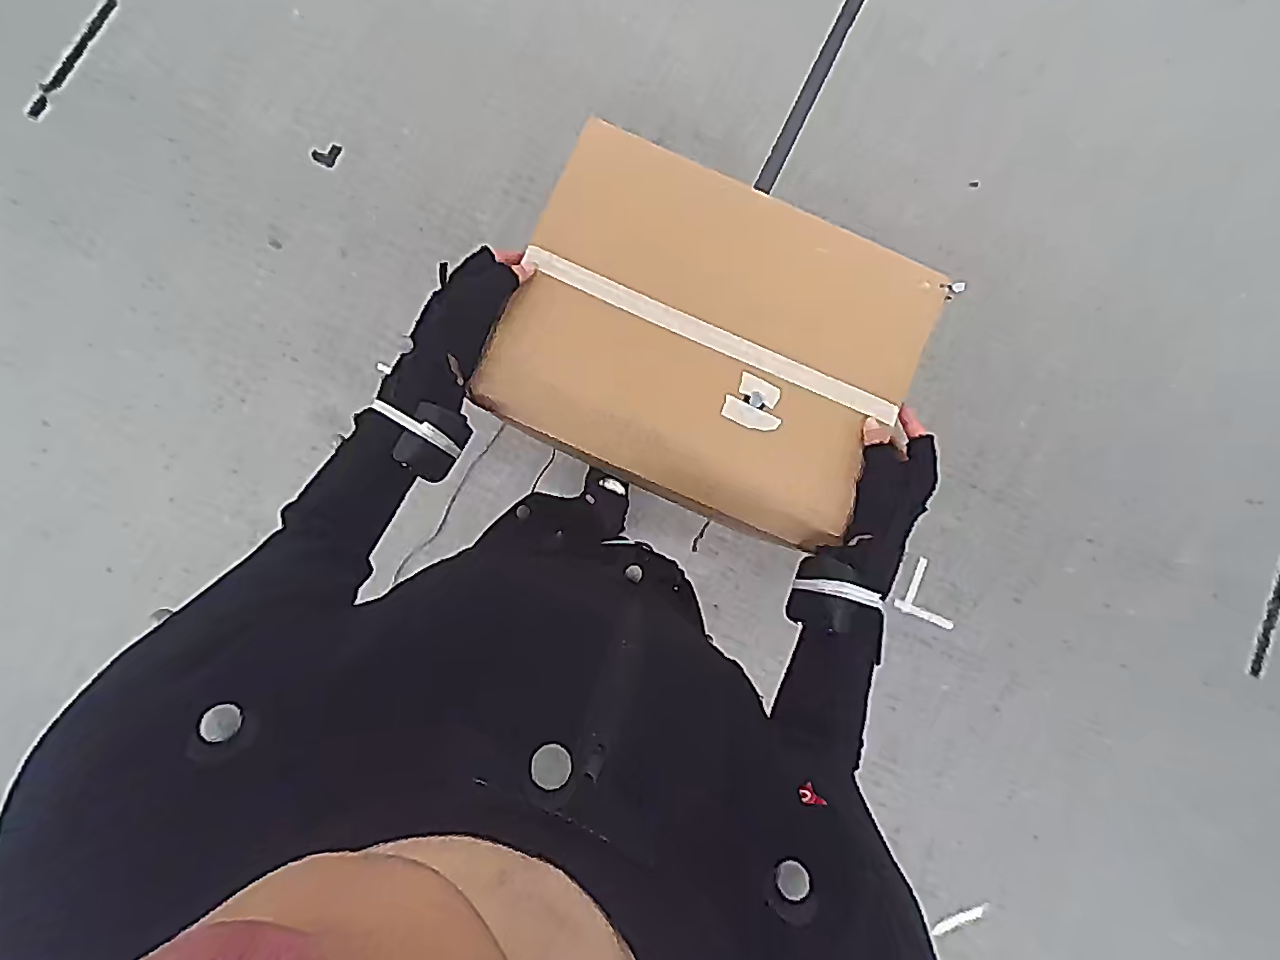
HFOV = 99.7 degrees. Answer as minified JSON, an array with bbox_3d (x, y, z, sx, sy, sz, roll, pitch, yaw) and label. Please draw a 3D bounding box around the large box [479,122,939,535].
[{"bbox_3d":[0.068,-0.154,0.705,0.408,0.320,0.320,24,89,-1],"label":"large box"}]
